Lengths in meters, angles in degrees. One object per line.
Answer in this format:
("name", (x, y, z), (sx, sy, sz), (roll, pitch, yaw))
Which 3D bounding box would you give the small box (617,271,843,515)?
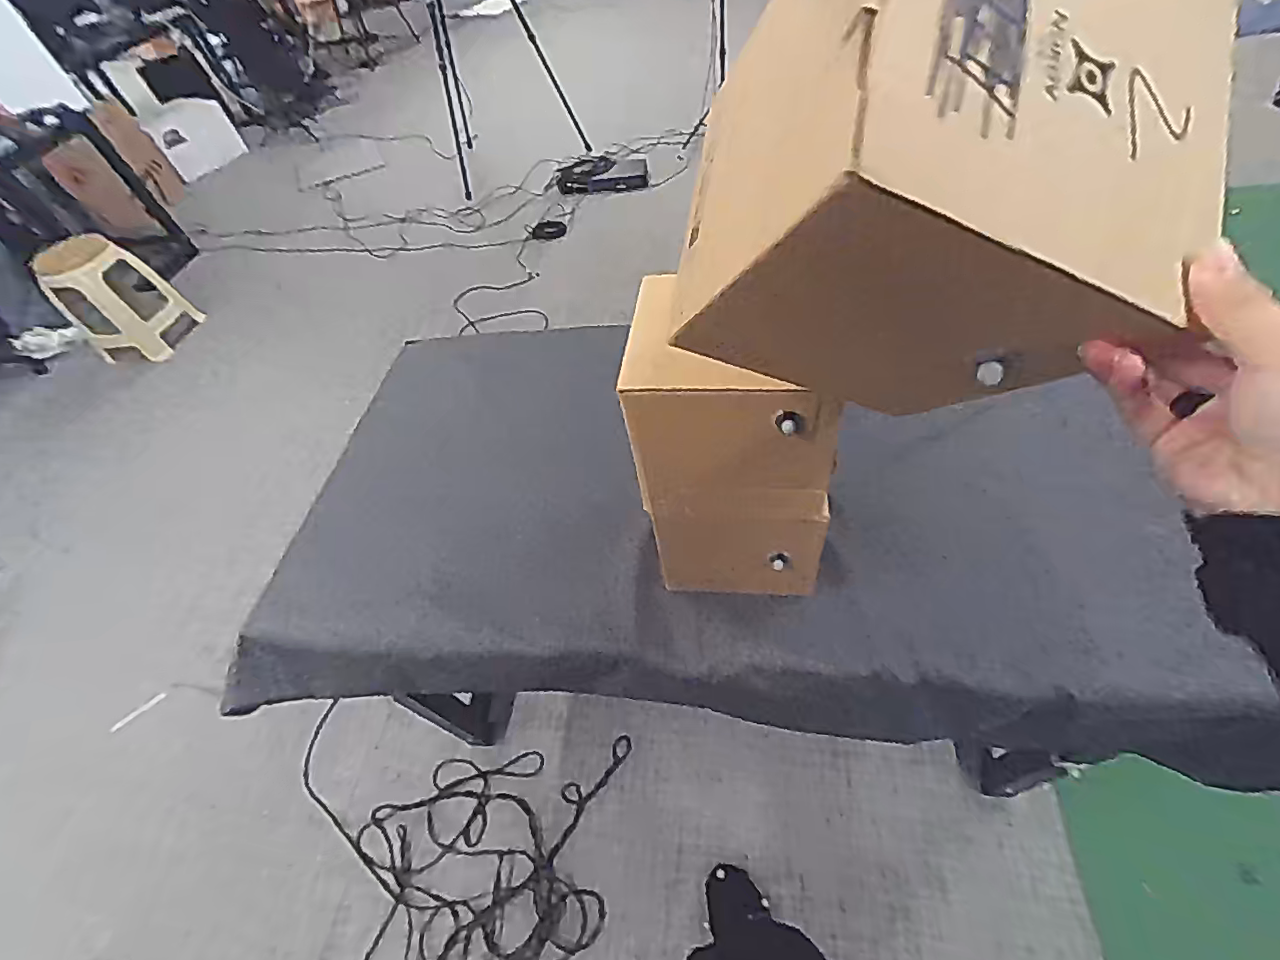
("small box", (0.087, -0.080, 0.522), (0.179, 0.176, 0.168), (2, 51, 10))

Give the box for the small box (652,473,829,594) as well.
("small box", (0.117, 0.024, 0.644), (0.179, 0.176, 0.168), (-1, 51, 11))
